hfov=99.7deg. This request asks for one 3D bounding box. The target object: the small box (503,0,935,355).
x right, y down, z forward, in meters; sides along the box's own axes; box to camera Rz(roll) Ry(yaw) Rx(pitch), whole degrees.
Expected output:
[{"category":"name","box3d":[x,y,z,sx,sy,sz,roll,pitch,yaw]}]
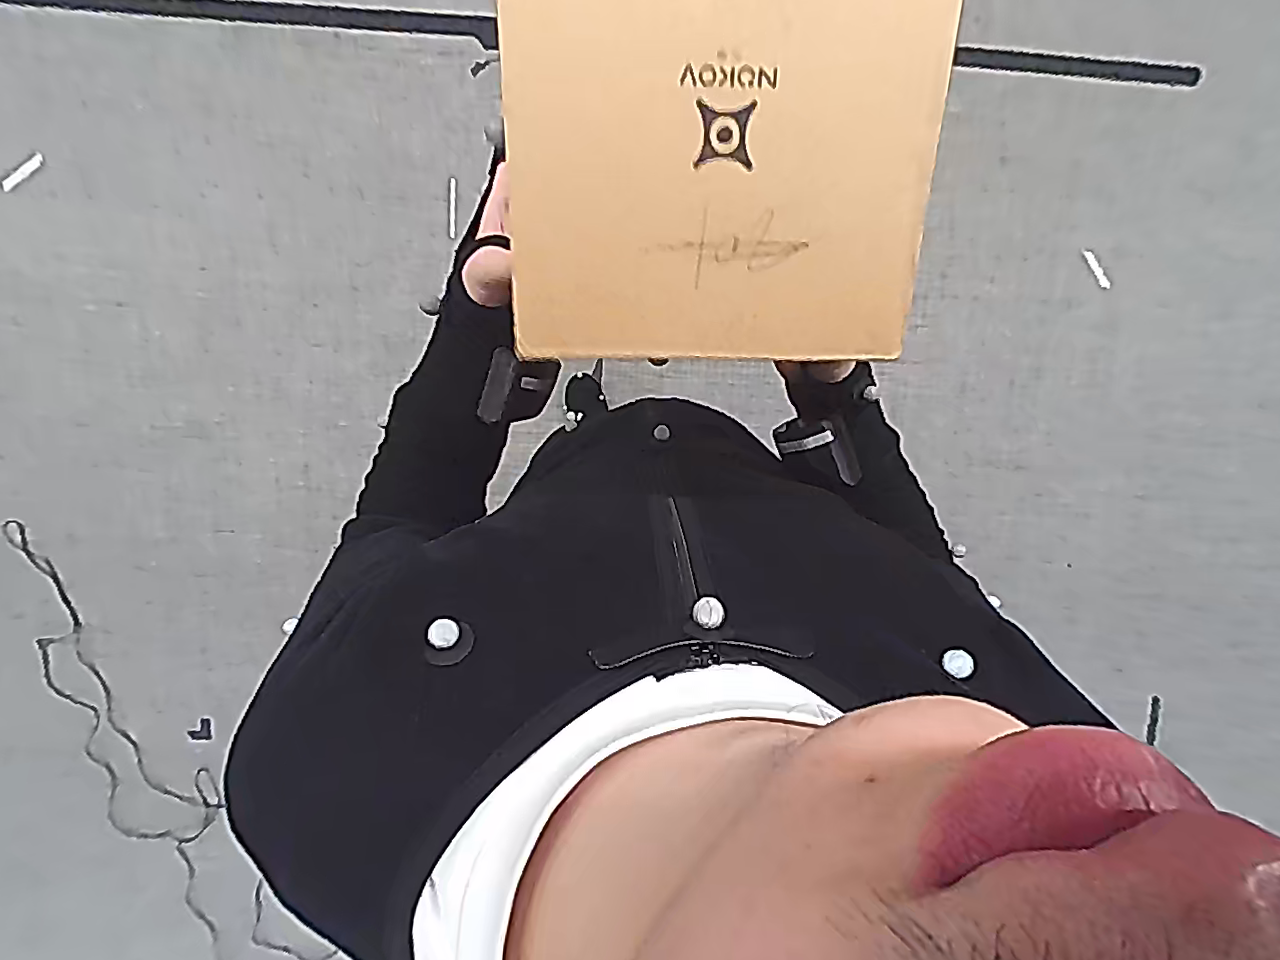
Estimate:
[{"category":"small box","box3d":[0.024,-0.166,0.290,0.168,0.176,0.179,-1,110,-3]}]
